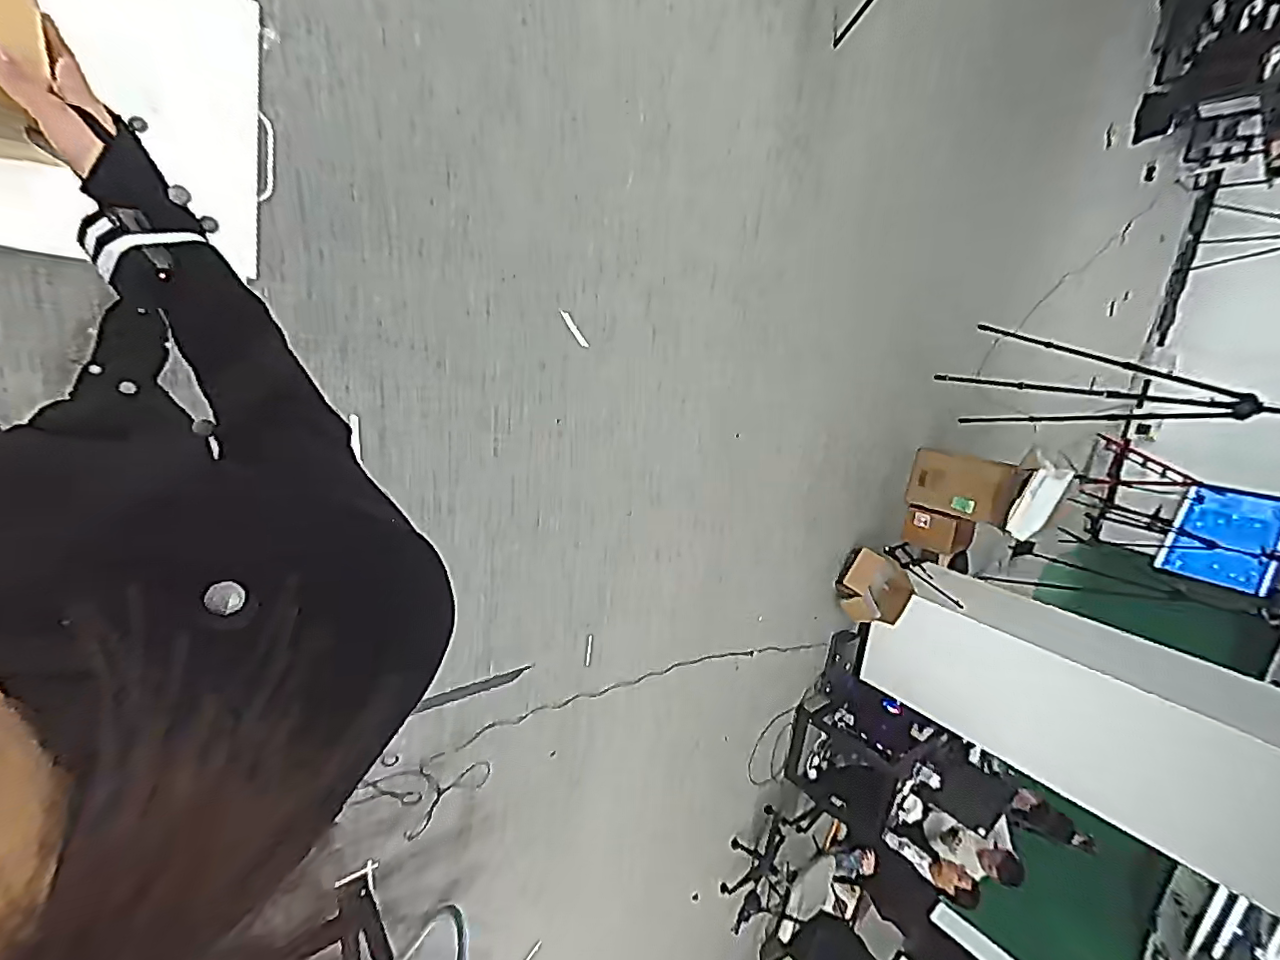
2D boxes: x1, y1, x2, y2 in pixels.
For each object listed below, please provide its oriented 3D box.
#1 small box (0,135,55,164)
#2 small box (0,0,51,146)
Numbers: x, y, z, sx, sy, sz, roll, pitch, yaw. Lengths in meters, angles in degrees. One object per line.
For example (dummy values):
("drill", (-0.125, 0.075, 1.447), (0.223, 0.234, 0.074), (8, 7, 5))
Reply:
("small box", (-0.723, -0.425, 0.525), (0.179, 0.176, 0.168), (-11, 112, -39))
("small box", (-0.580, -0.381, 0.409), (0.168, 0.176, 0.179), (-12, 111, -46))
